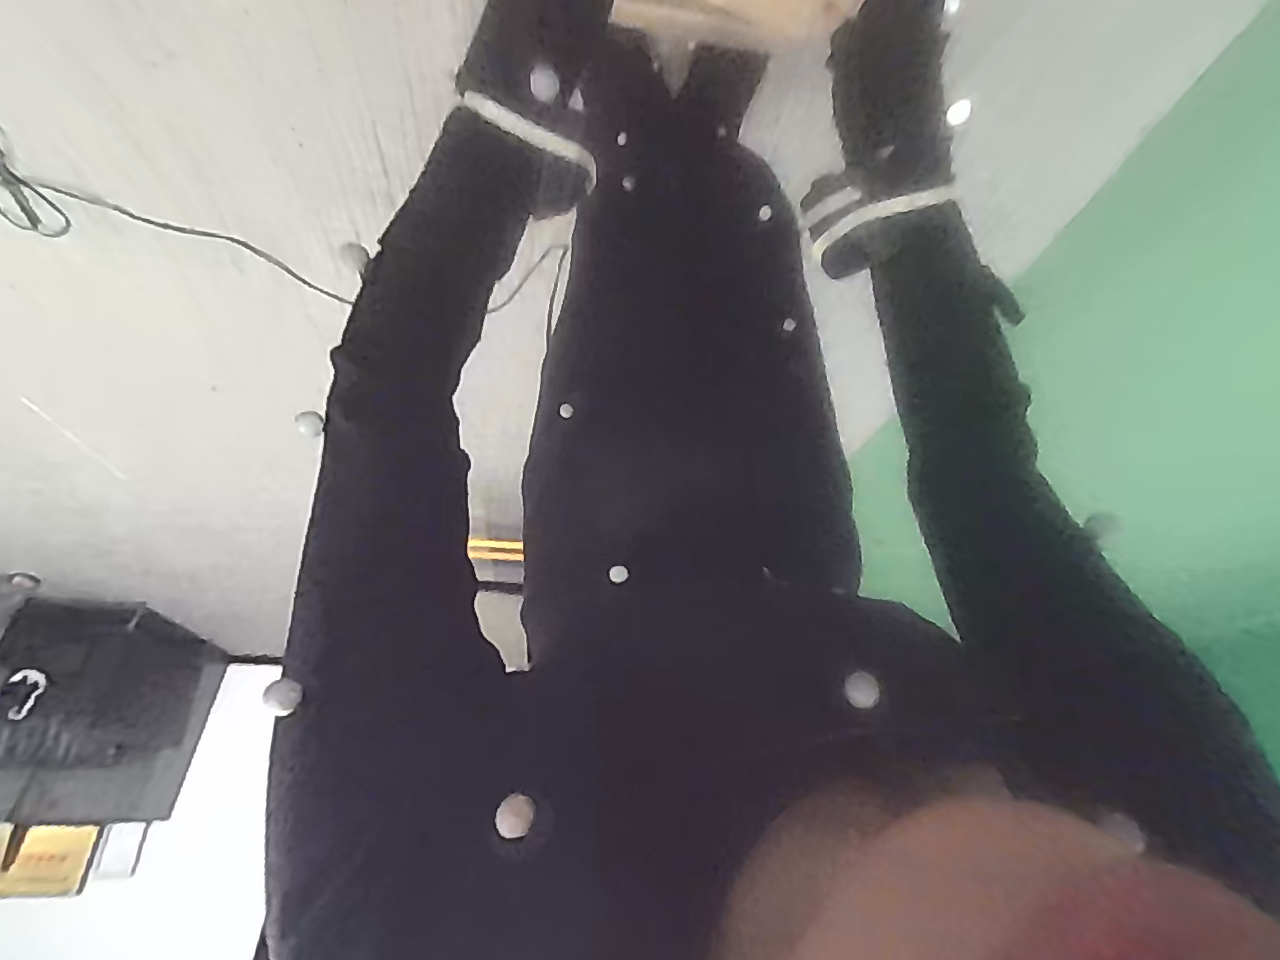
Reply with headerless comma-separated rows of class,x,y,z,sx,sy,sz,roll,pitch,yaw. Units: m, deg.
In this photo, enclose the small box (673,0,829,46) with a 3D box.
small box,0.063,-0.428,0.326,0.168,0.176,0.179,3,156,-19
